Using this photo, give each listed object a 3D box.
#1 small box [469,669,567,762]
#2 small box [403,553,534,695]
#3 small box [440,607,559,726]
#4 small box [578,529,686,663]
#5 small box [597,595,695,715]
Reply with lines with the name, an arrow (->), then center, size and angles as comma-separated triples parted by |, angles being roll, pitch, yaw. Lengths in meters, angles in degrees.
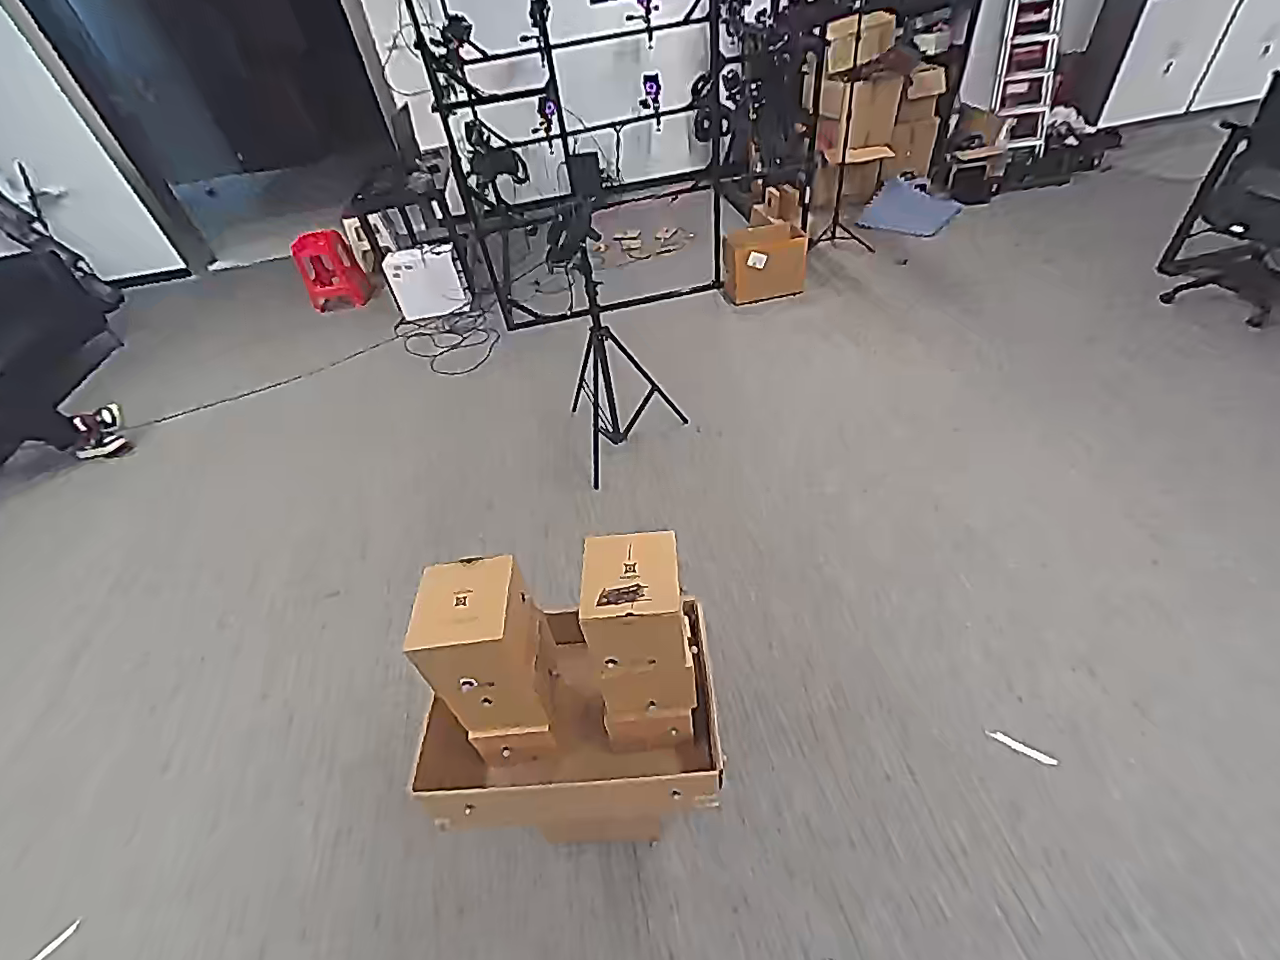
small box -> -0.257, 0.500, 1.185 | 0.168, 0.176, 0.179 | -6, 42, 1
small box -> -0.291, 0.257, 0.967 | 0.168, 0.176, 0.179 | -8, 42, 2
small box -> -0.269, 0.375, 1.079 | 0.179, 0.176, 0.168 | -5, 43, 2
small box -> -0.007, 0.212, 0.963 | 0.168, 0.176, 0.179 | -5, 42, 4
small box -> 0.012, 0.343, 1.065 | 0.179, 0.176, 0.168 | -8, 43, 1
